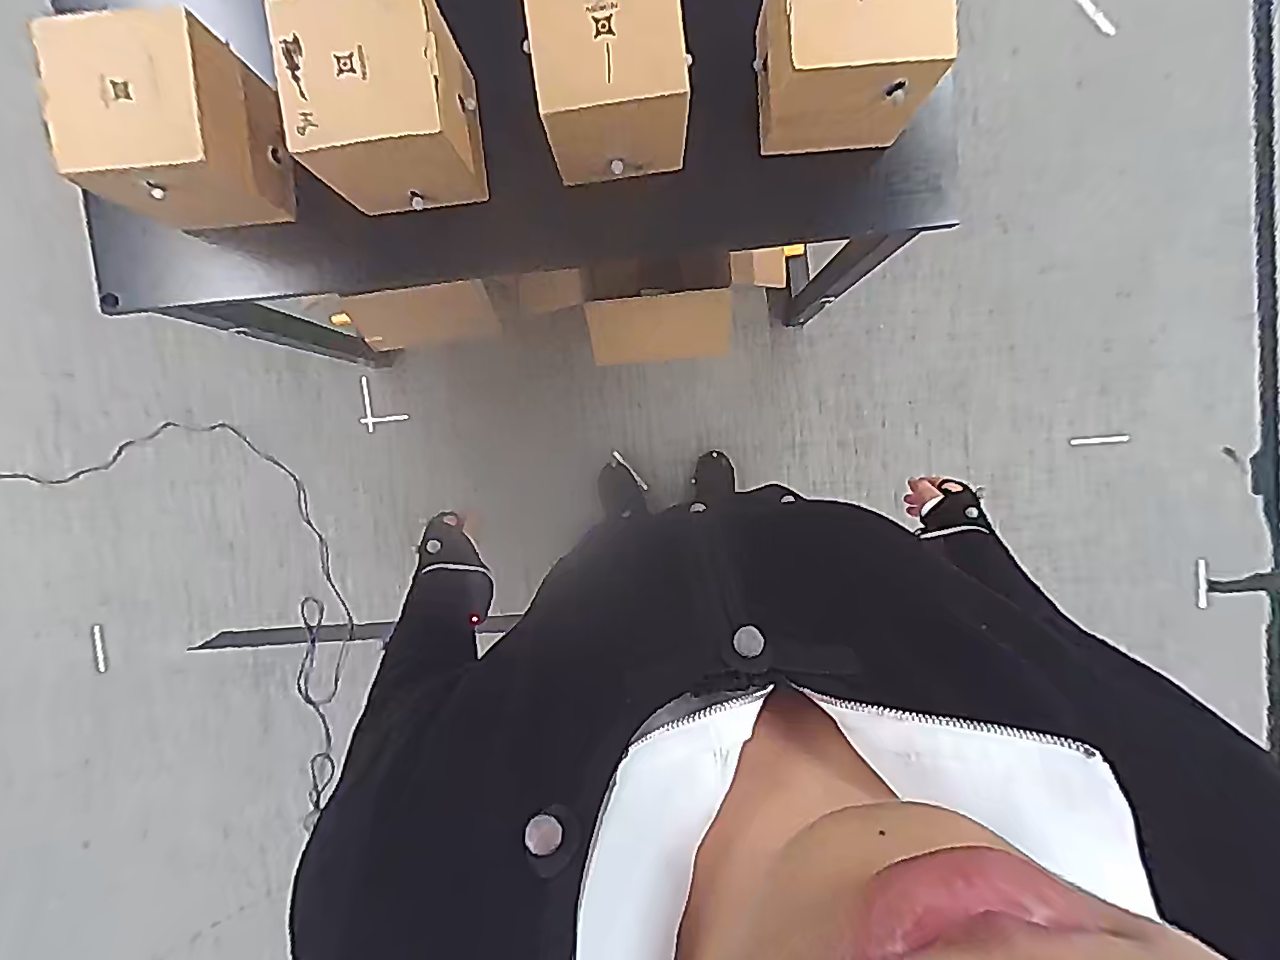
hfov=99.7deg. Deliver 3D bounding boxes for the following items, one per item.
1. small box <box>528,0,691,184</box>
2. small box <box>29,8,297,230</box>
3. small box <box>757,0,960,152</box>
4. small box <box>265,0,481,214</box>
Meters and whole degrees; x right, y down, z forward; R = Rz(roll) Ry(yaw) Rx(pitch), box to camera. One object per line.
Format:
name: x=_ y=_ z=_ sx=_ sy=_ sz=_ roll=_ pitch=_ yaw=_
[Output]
small box: x=-0.035 y=-0.491 z=0.648 sx=0.168 sy=0.176 sz=0.179 roll=-7 pitch=94 yaw=2
small box: x=-0.565 y=-0.424 z=0.664 sx=0.179 sy=0.176 sz=0.168 roll=-4 pitch=94 yaw=0
small box: x=0.244 y=-0.518 z=0.638 sx=0.179 sy=0.176 sz=0.168 roll=-3 pitch=93 yaw=2
small box: x=-0.303 y=-0.448 z=0.658 sx=0.179 sy=0.176 sz=0.168 roll=-7 pitch=93 yaw=0
